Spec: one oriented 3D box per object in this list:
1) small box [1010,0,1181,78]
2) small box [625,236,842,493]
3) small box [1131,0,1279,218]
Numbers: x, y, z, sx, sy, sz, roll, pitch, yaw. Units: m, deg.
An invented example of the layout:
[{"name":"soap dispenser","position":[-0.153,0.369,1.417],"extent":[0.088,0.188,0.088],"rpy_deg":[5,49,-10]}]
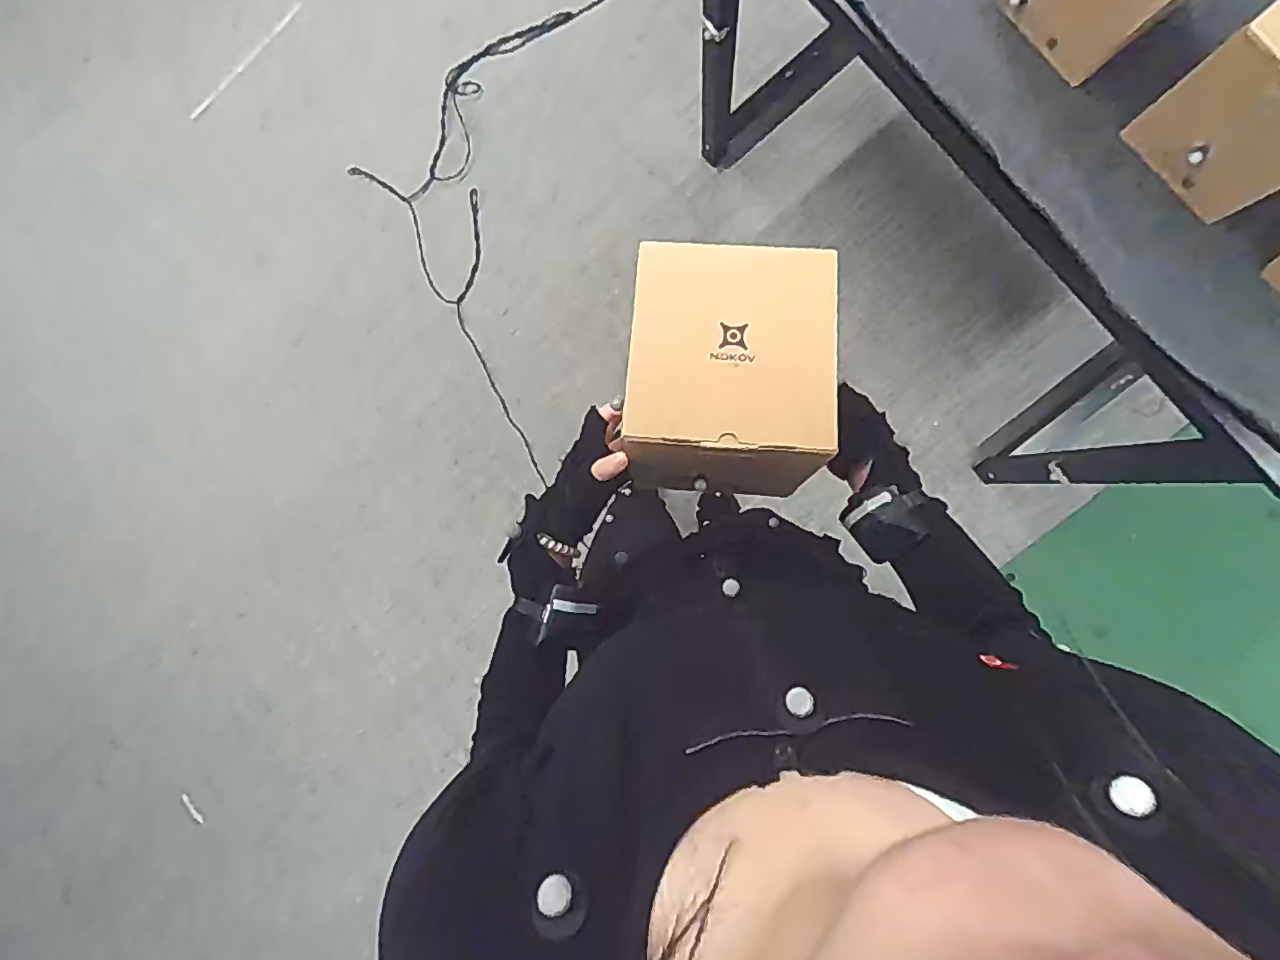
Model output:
[{"name":"small box","position":[0.578,-0.631,0.628],"extent":[0.179,0.176,0.168],"rpy_deg":[-38,86,3]},{"name":"small box","position":[0.078,-0.094,0.503],"extent":[0.168,0.176,0.179],"rpy_deg":[4,77,3]},{"name":"small box","position":[0.732,-0.445,0.608],"extent":[0.179,0.176,0.168],"rpy_deg":[-40,85,4]}]
